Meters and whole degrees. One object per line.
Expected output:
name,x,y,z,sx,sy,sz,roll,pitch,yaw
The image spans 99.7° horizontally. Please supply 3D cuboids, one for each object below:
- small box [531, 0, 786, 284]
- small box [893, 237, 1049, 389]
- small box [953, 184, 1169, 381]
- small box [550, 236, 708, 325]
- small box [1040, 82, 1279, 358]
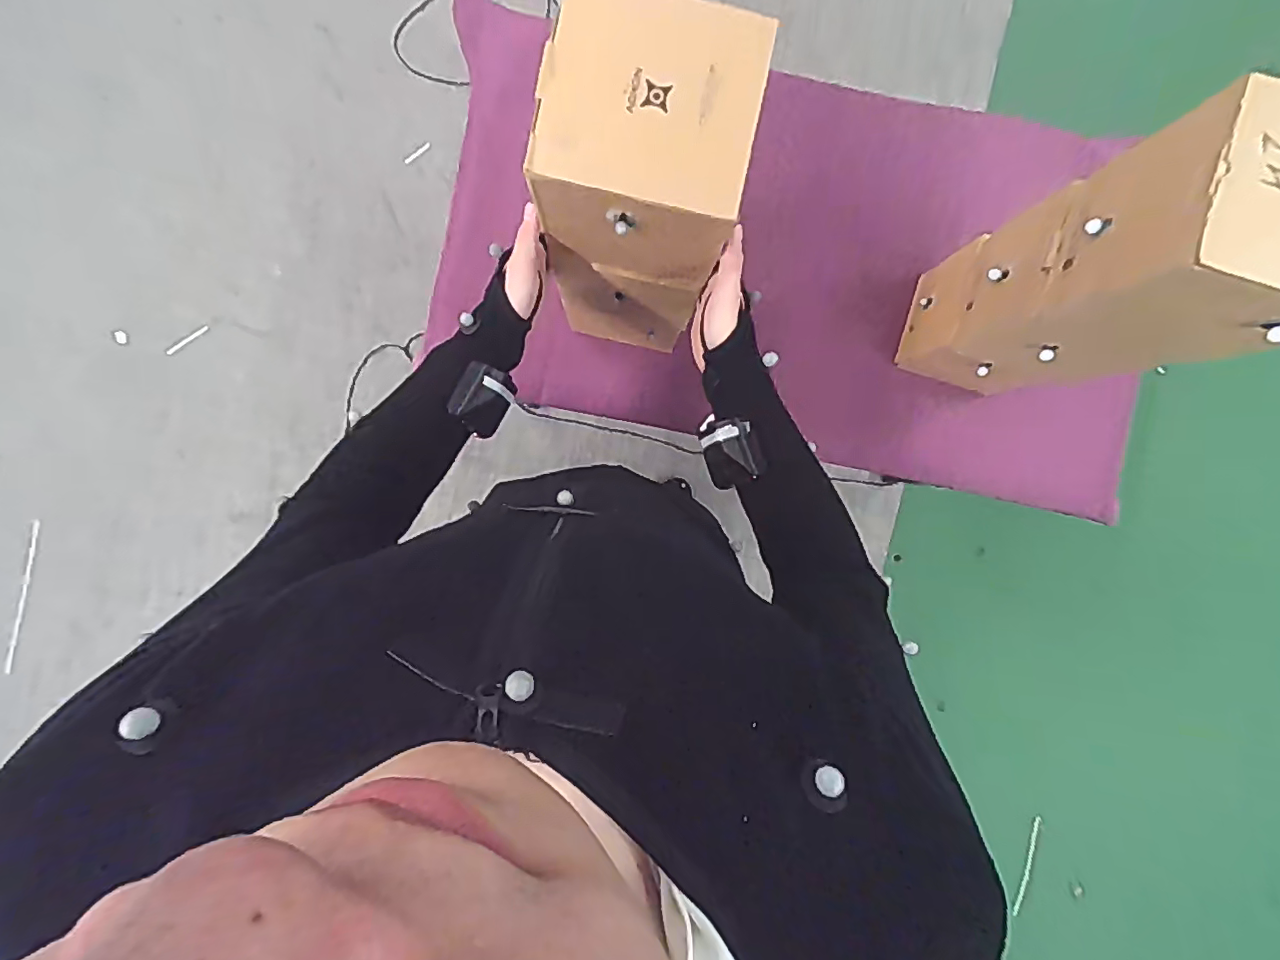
small box,0.012,-0.304,0.508,0.179,0.176,0.168,13,91,-3
small box,0.544,-0.251,0.861,0.179,0.176,0.168,17,91,-2
small box,0.547,-0.238,0.697,0.179,0.176,0.168,17,91,-1
small box,-0.001,-0.304,0.671,0.179,0.176,0.168,11,91,-2
small box,0.556,-0.230,0.532,0.179,0.176,0.168,17,90,-1
